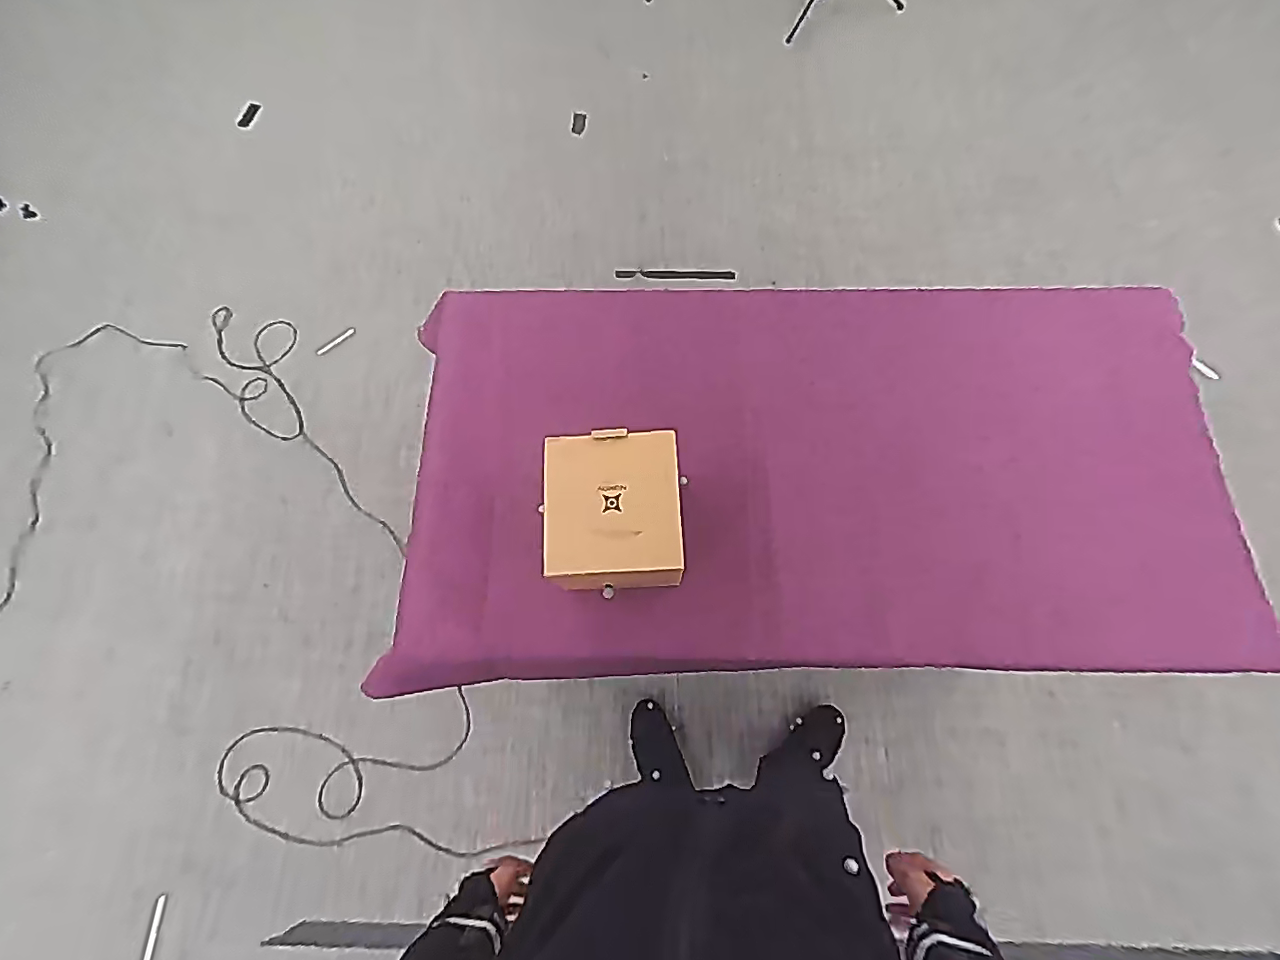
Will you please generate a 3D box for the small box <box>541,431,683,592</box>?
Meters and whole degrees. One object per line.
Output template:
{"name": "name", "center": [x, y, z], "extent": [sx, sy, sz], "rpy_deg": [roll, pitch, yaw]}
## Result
{"name": "small box", "center": [-0.032, 0.049, 0.719], "extent": [0.168, 0.176, 0.179], "rpy_deg": [-2, 72, 2]}
